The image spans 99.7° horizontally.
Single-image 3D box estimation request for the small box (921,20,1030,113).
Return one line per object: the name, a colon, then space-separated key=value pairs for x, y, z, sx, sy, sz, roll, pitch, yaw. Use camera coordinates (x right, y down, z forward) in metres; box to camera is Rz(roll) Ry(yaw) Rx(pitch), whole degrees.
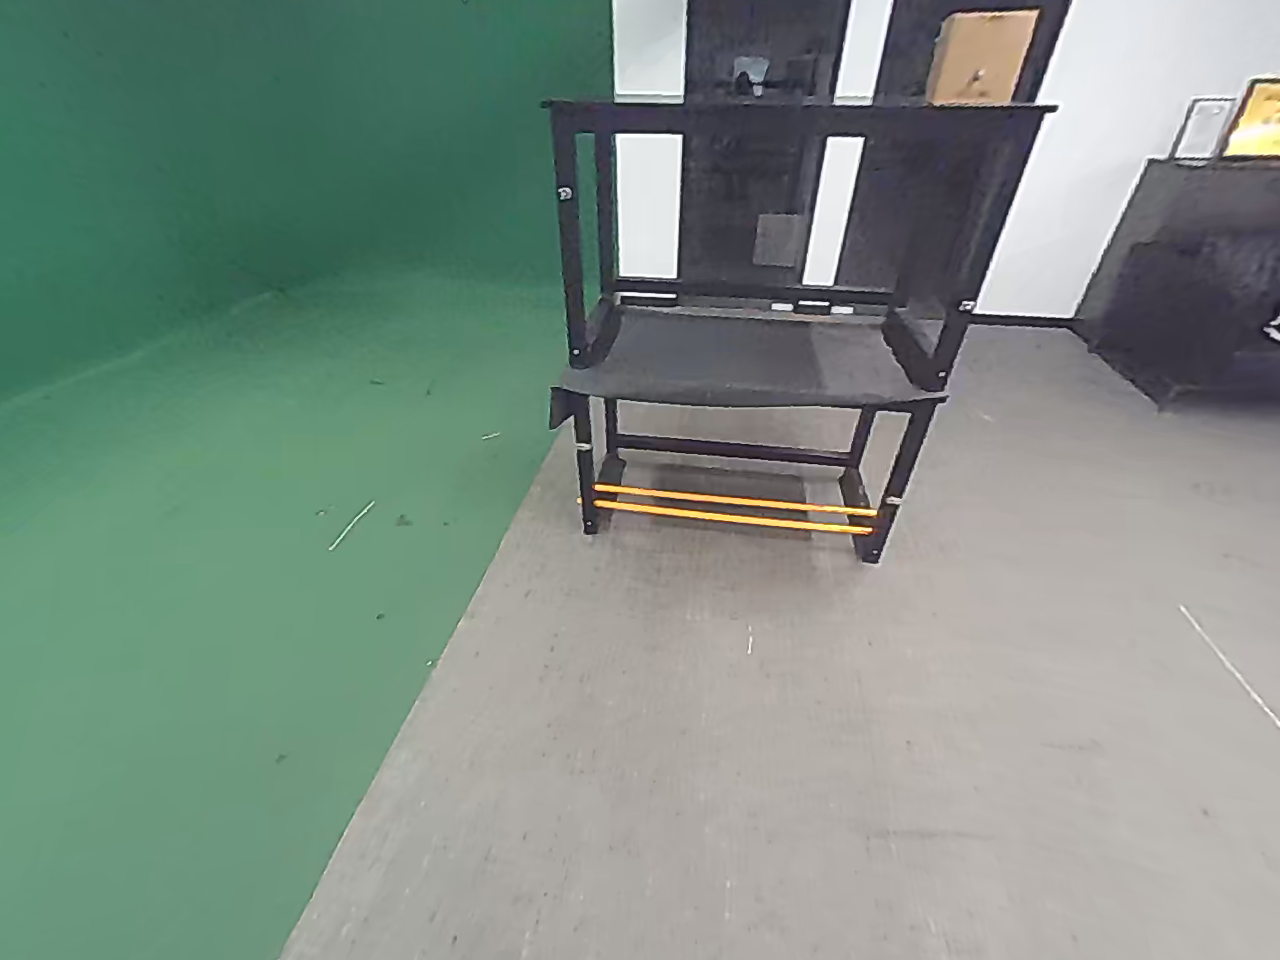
small box: x=0.802 y=-1.003 z=1.317 sx=0.168 sy=0.176 sz=0.179 roll=9 pitch=37 yaw=13
